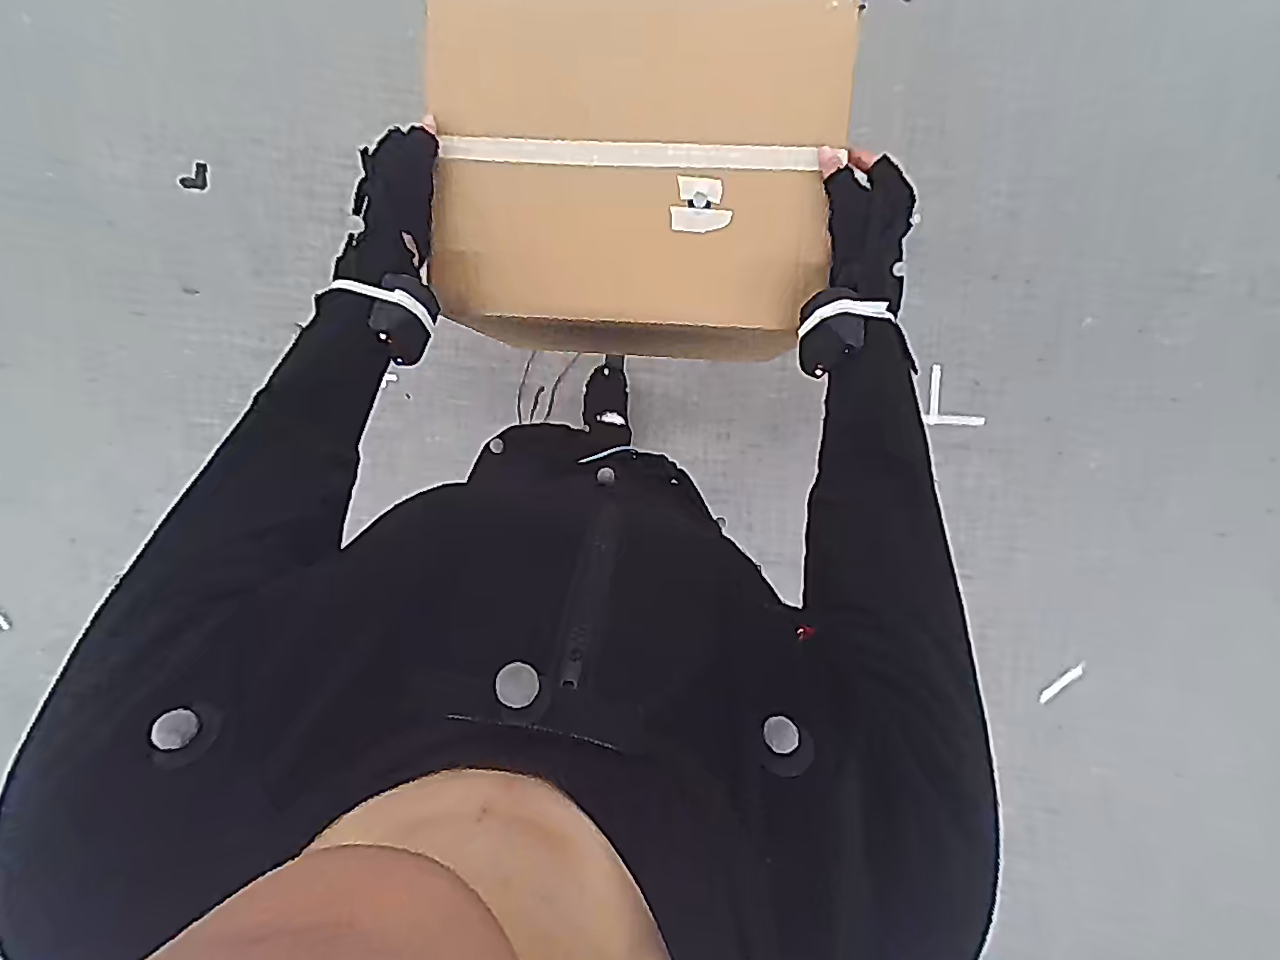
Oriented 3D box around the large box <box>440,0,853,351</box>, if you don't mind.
[{"bbox_3d":[0.002,-0.342,0.681,0.408,0.320,0.320,3,97,2],"label":"large box"}]
